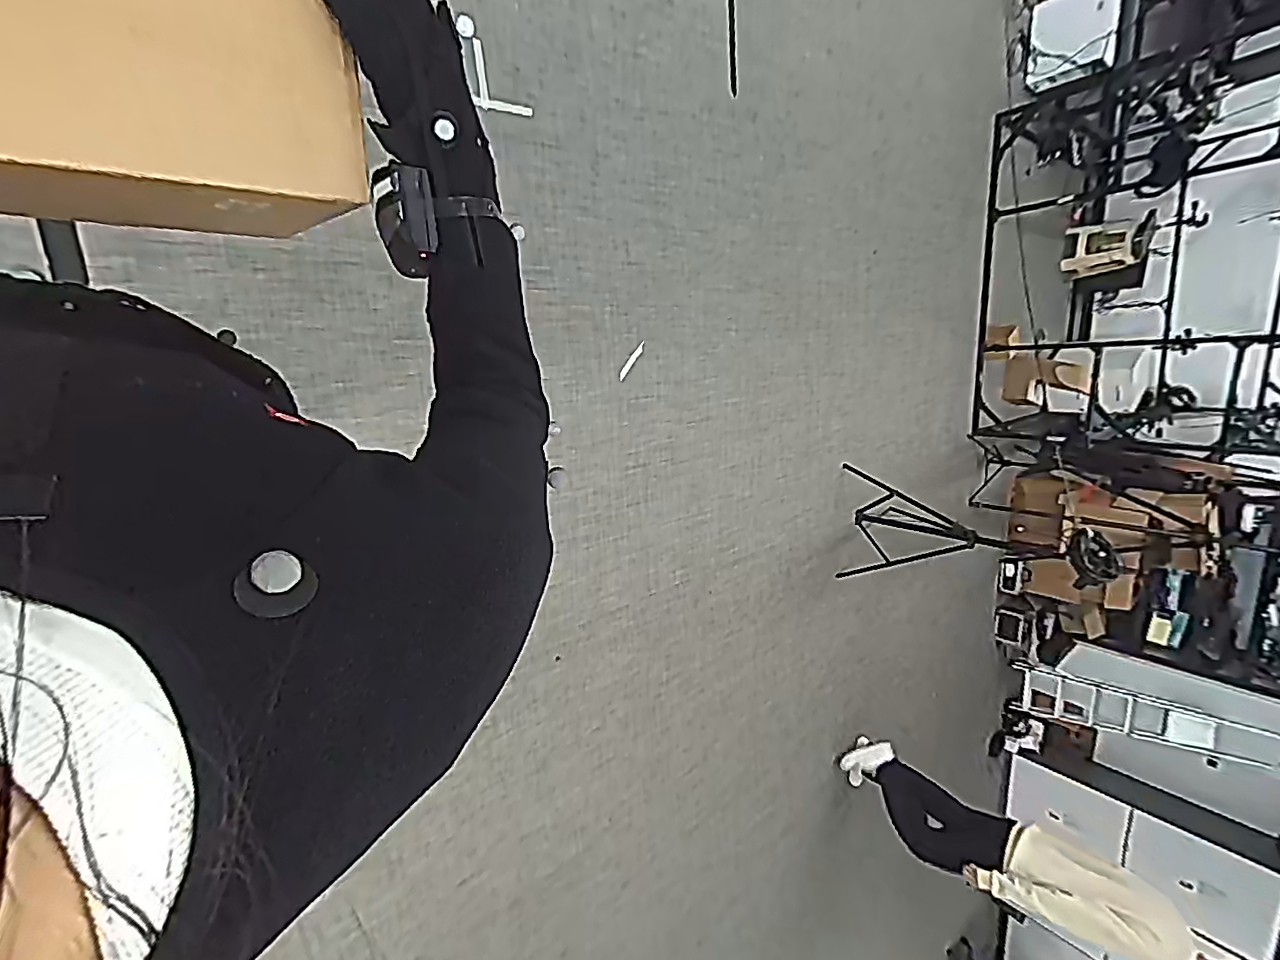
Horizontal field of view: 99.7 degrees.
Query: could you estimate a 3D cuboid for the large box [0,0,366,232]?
[{"bbox_3d":[-0.448,-0.345,0.330,0.408,0.320,0.320,-15,115,-40],"label":"large box"}]
